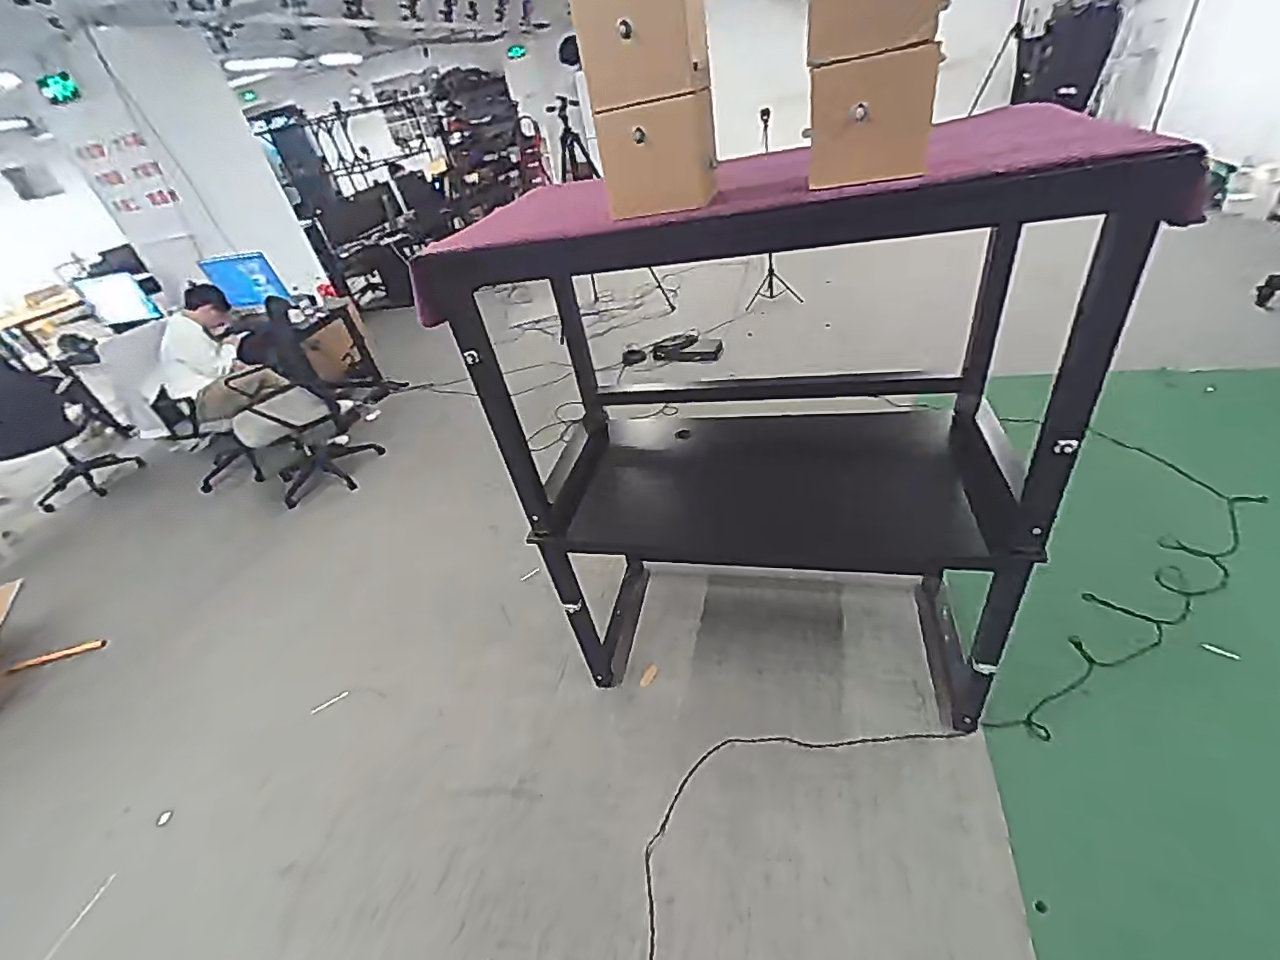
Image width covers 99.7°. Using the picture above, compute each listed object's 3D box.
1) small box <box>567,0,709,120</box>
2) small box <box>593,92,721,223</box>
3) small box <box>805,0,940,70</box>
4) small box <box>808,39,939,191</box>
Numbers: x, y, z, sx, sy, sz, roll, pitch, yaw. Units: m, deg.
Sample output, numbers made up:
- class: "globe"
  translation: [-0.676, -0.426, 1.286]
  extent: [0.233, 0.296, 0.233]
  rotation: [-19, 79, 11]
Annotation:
- class: "small box"
  translation: [0.008, -0.706, 0.879]
  extent: [0.179, 0.176, 0.168]
  rotation: [0, 37, 20]
- class: "small box"
  translation: [0.040, -0.576, 0.974]
  extent: [0.179, 0.176, 0.168]
  rotation: [1, 38, 20]
- class: "small box"
  translation: [0.334, -0.713, 0.780]
  extent: [0.179, 0.176, 0.168]
  rotation: [3, 39, 22]
- class: "small box"
  translation: [0.370, -0.582, 0.871]
  extent: [0.179, 0.176, 0.168]
  rotation: [1, 38, 21]
